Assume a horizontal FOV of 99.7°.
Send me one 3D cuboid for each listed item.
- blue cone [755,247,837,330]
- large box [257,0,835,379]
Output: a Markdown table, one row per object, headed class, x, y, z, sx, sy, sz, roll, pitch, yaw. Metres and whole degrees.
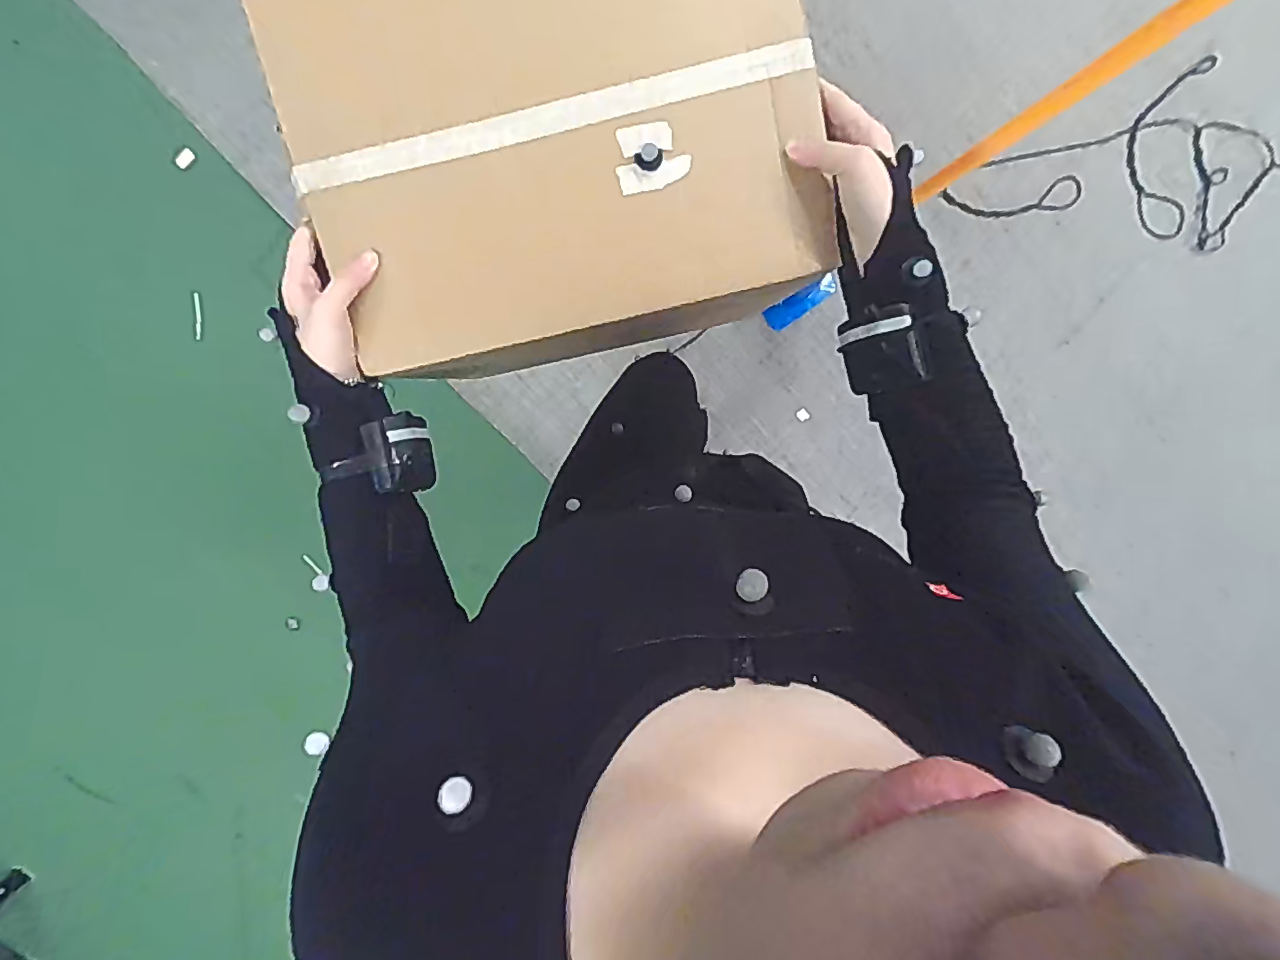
| class | x | y | z | sx | sy | sz | roll | pitch | yaw |
| --- | --- | --- | --- | --- | --- | --- | --- | --- | --- |
| blue cone | 0.379 | -0.485 | 1.254 | 0.192 | 0.380 | 0.193 | -34 | 99 | 5 |
| large box | -0.071 | -0.308 | 0.571 | 0.408 | 0.320 | 0.320 | -14 | 100 | 0 |
